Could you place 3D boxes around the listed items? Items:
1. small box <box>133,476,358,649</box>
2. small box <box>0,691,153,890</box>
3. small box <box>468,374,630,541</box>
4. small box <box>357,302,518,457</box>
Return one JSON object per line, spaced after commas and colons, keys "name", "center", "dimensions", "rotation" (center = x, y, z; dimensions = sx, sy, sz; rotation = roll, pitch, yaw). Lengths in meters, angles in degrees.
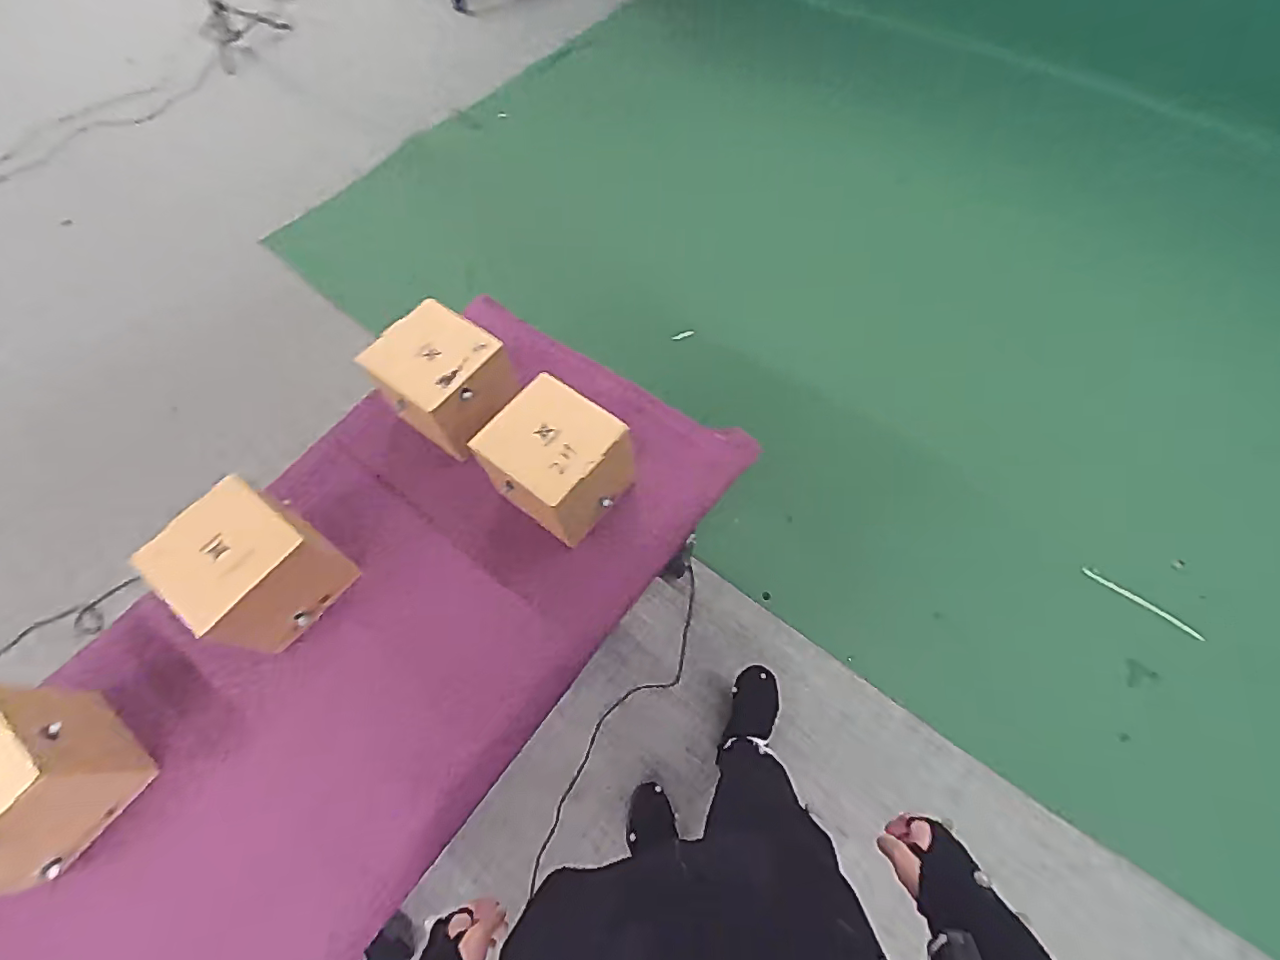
{"name": "small box", "center": [-0.571, 0.131, 0.807], "dimensions": [0.179, 0.176, 0.168], "rotation": [34, 70, 17]}
{"name": "small box", "center": [-0.789, 0.388, 0.683], "dimensions": [0.179, 0.176, 0.168], "rotation": [32, 68, 17]}
{"name": "small box", "center": [-0.134, -0.029, 0.863], "dimensions": [0.179, 0.176, 0.168], "rotation": [34, 71, 19]}
{"name": "small box", "center": [-0.341, -0.168, 0.945], "dimensions": [0.179, 0.176, 0.168], "rotation": [33, 70, 17]}
